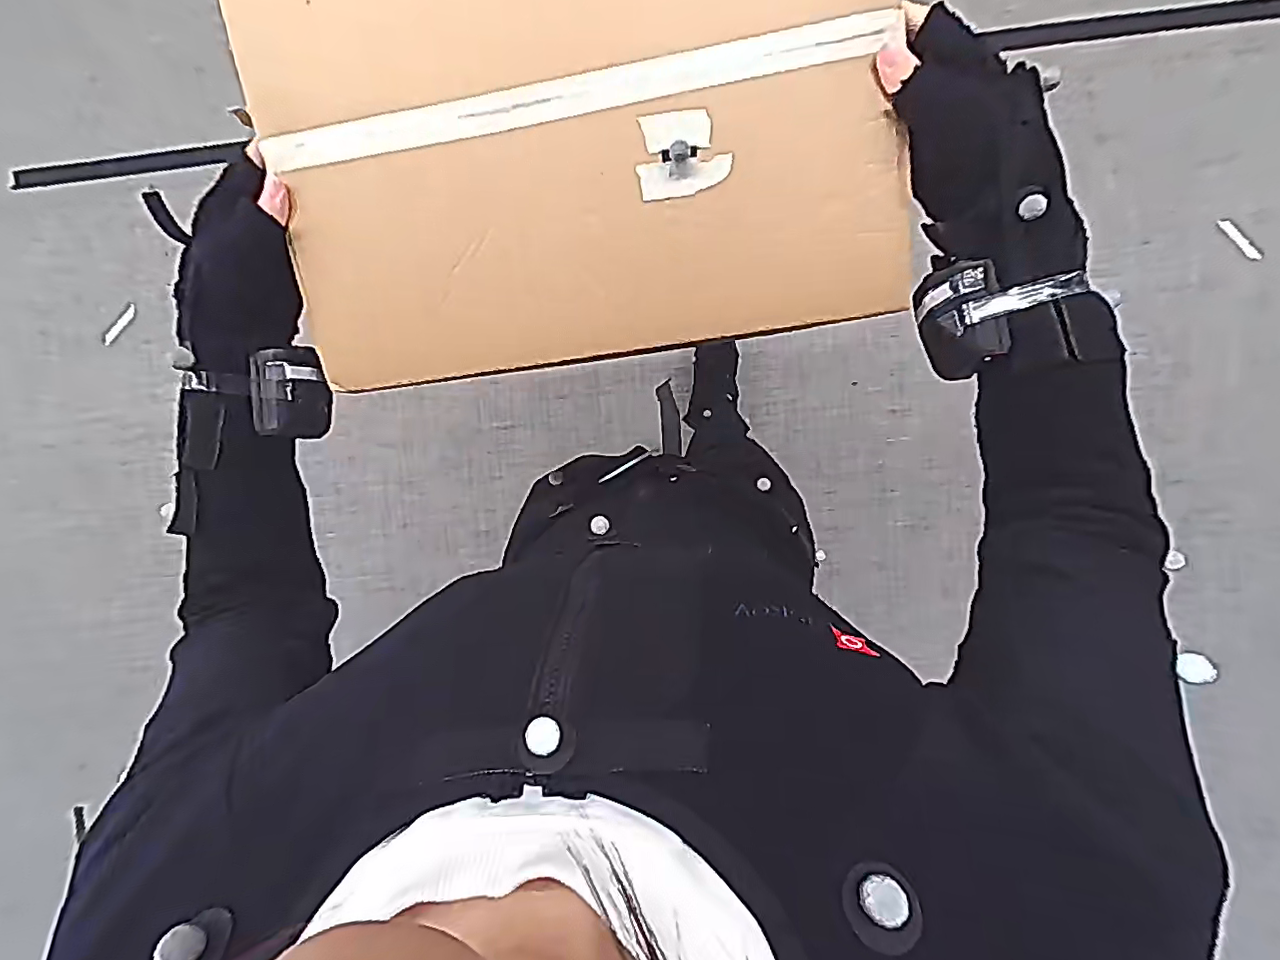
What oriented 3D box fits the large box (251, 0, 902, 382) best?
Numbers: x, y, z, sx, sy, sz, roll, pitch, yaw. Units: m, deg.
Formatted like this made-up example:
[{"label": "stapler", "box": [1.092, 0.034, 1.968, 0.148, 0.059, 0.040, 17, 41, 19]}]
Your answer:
[{"label": "large box", "box": [-0.035, -0.282, 0.494, 0.408, 0.320, 0.320, -8, 104, 5]}]
